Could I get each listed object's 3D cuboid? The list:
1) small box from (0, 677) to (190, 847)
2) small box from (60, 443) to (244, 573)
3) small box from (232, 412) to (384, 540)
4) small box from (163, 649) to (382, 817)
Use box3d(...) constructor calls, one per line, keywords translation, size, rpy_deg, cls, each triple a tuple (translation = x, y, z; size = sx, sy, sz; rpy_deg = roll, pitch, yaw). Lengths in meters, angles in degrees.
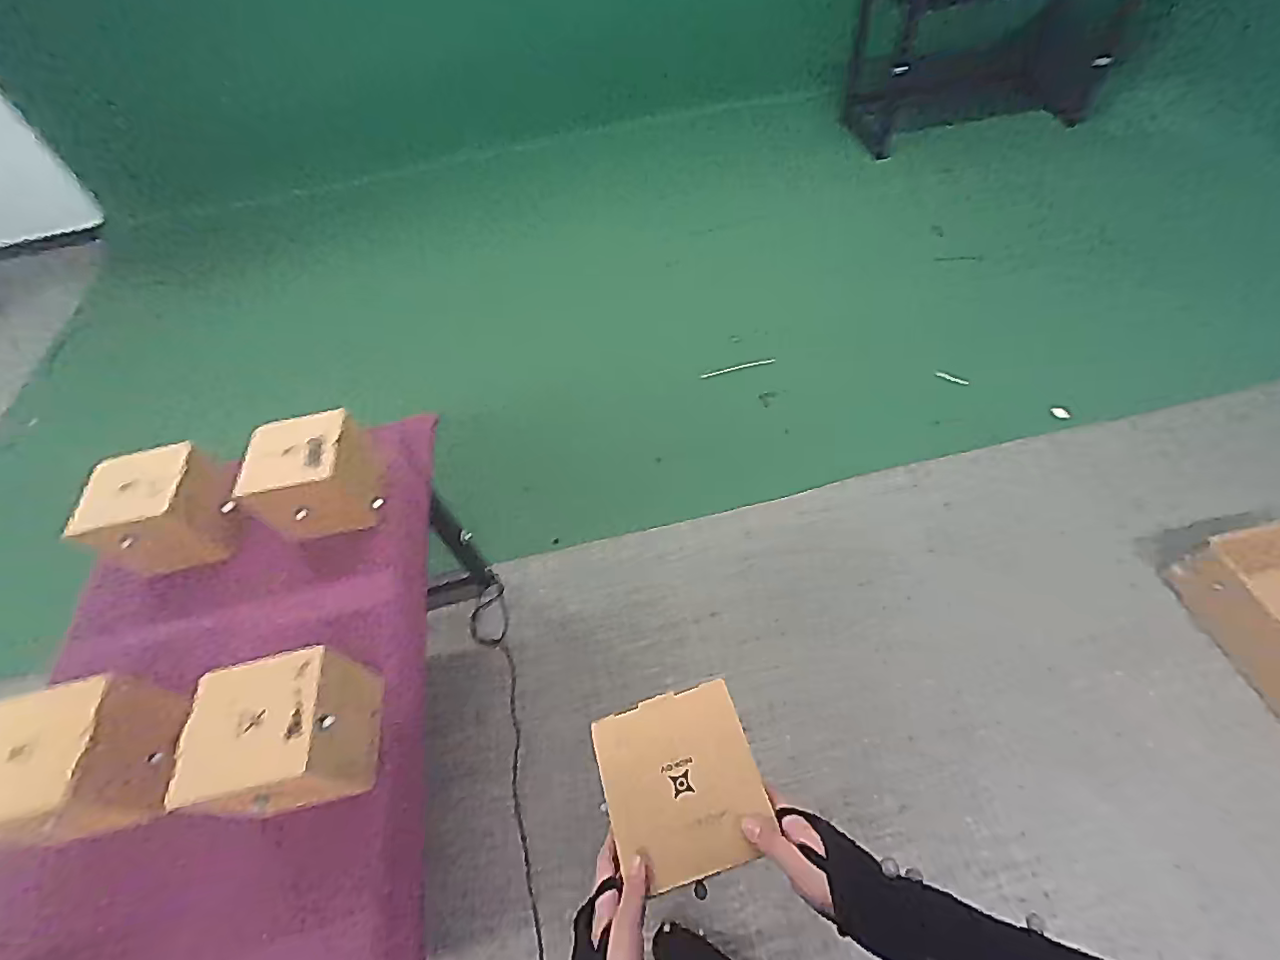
box3d(translation=(-0.808, 0.406, 0.773), size=(0.179, 0.176, 0.168), rpy_deg=(-13, 54, -4), cls="small box")
box3d(translation=(-0.904, 0.059, 1.026), size=(0.179, 0.176, 0.168), rpy_deg=(-13, 55, -2), cls="small box")
box3d(translation=(-0.620, -0.003, 1.038), size=(0.179, 0.176, 0.168), rpy_deg=(-11, 55, 1), cls="small box")
box3d(translation=(-0.498, 0.362, 0.765), size=(0.179, 0.176, 0.168), rpy_deg=(-13, 55, -1), cls="small box")
